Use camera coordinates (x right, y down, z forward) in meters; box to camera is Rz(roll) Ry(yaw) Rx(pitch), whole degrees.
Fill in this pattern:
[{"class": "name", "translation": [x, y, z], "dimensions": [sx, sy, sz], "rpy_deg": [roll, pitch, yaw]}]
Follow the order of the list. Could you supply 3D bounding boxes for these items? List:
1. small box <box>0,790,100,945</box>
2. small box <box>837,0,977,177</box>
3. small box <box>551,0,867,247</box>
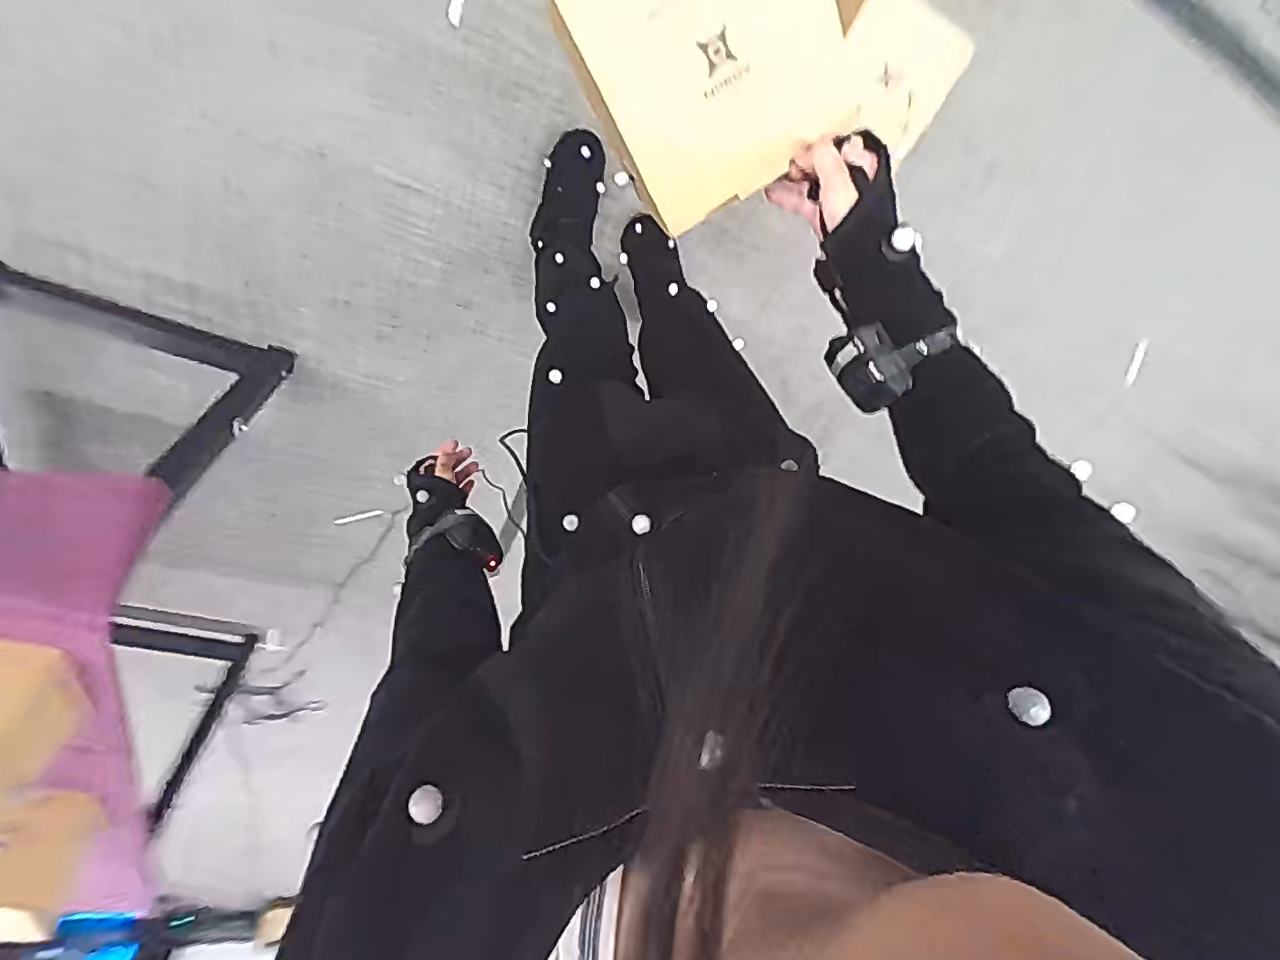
[{"class": "small box", "translation": [-1.034, 0.627, 0.878], "dimensions": [0.168, 0.176, 0.179], "rpy_deg": [18, 124, -21]}, {"class": "small box", "translation": [0.336, -0.587, 0.802], "dimensions": [0.179, 0.176, 0.168], "rpy_deg": [17, 125, -21]}, {"class": "small box", "translation": [0.046, -0.326, 0.428], "dimensions": [0.168, 0.176, 0.179], "rpy_deg": [-30, 126, 11]}]
